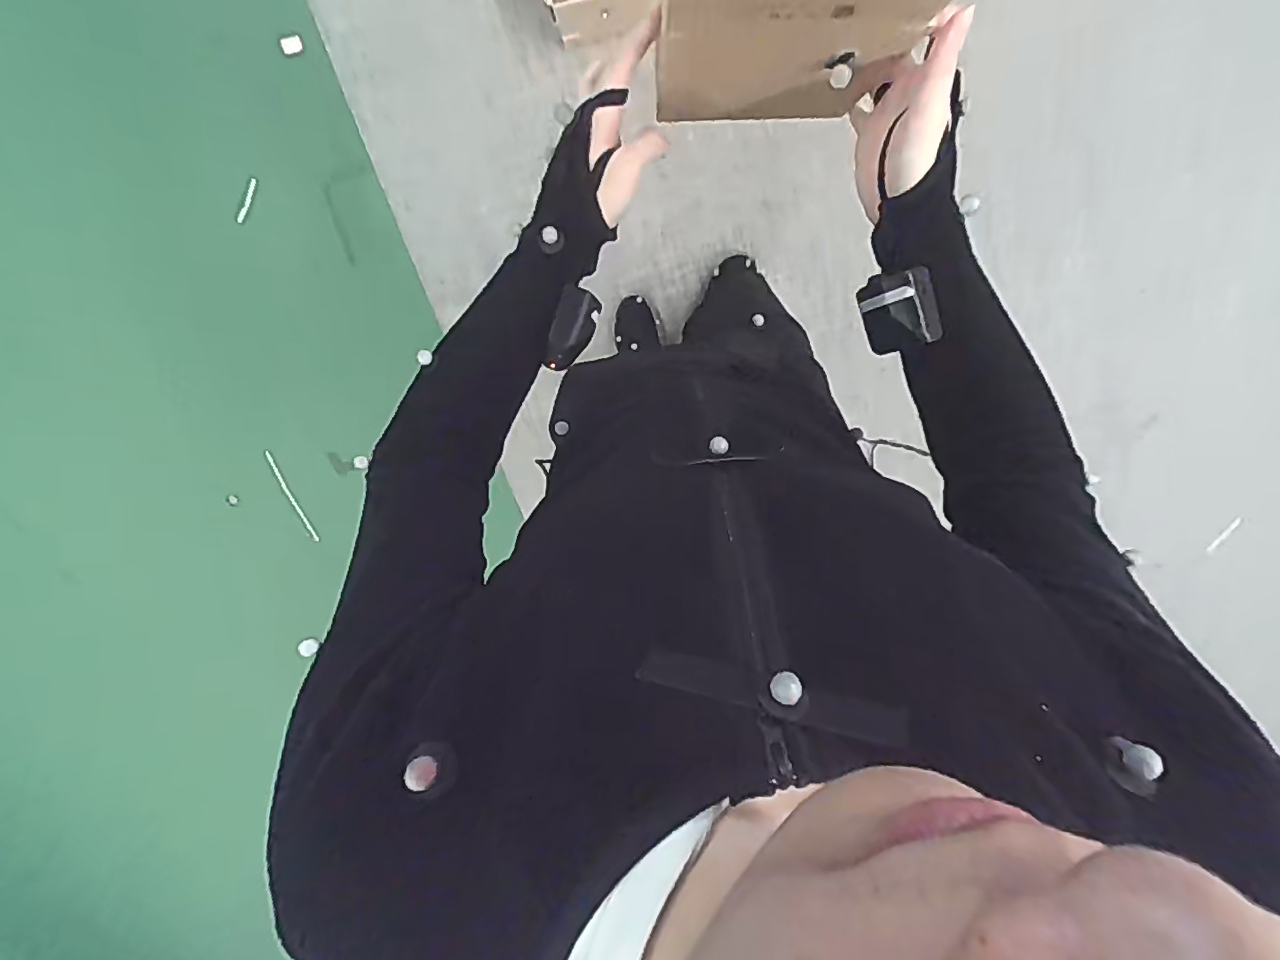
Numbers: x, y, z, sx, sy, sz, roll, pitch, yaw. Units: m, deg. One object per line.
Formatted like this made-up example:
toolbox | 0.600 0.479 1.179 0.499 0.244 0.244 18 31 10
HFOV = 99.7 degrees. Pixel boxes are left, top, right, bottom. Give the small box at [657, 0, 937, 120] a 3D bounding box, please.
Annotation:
small box | 0.102 -0.389 0.401 0.179 0.176 0.168 0 106 1

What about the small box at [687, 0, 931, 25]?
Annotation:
small box | 0.098 -0.346 0.244 0.168 0.176 0.179 0 106 0
